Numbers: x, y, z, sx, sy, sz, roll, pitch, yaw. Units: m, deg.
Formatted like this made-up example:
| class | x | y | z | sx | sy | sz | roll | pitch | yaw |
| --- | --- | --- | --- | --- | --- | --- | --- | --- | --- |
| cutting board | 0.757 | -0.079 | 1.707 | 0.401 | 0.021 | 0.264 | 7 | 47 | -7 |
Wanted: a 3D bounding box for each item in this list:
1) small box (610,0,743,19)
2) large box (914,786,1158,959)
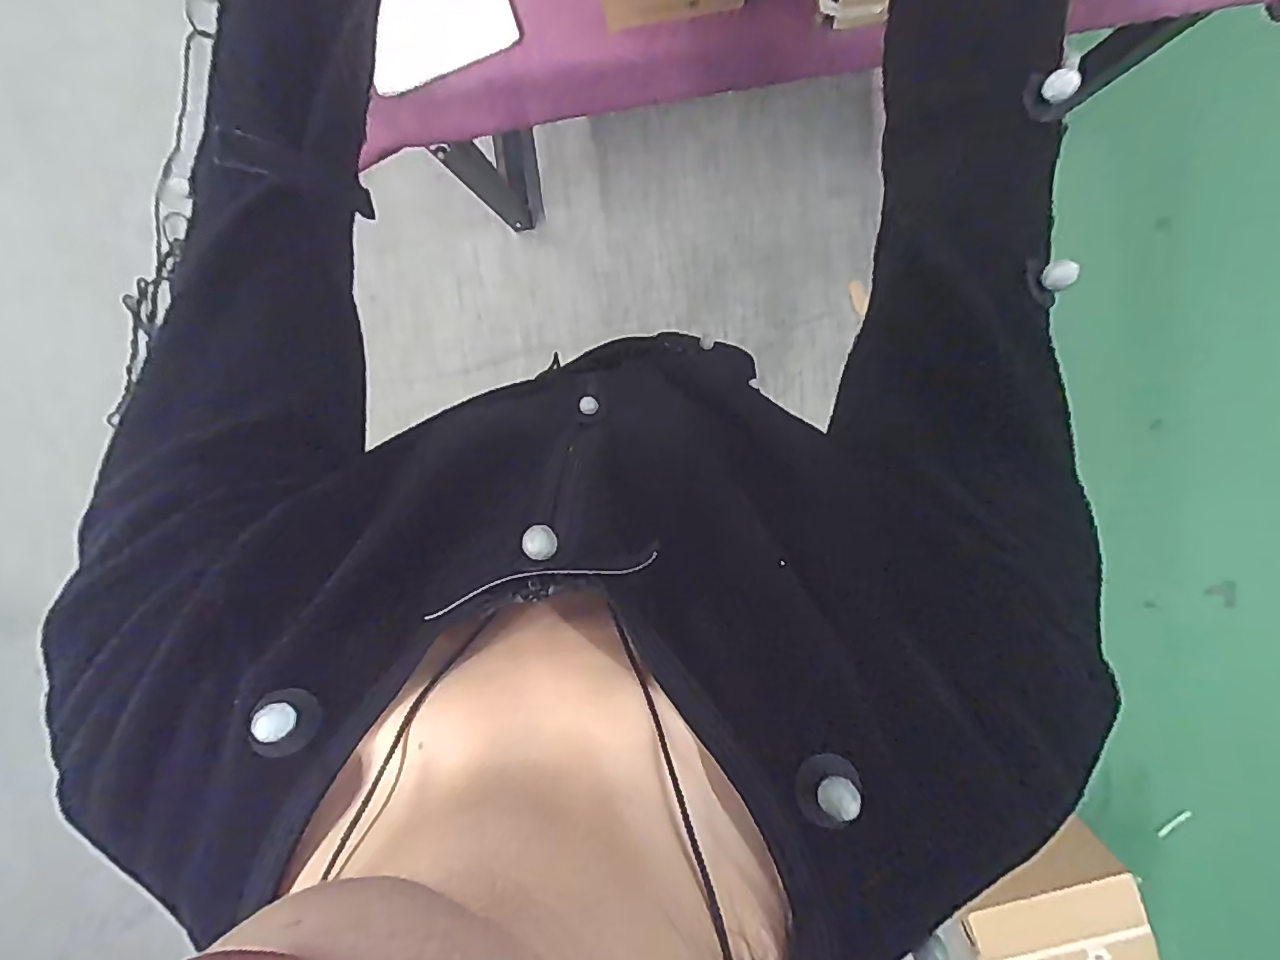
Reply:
| class | x | y | z | sx | sy | sz | roll | pitch | yaw |
| --- | --- | --- | --- | --- | --- | --- | --- | --- | --- |
| small box | 0.035 | -0.637 | 0.574 | 0.168 | 0.176 | 0.179 | -5 | 98 | 4 |
| large box | 1.051 | 1.124 | 1.477 | 0.408 | 0.320 | 0.320 | -21 | 98 | 6 |
